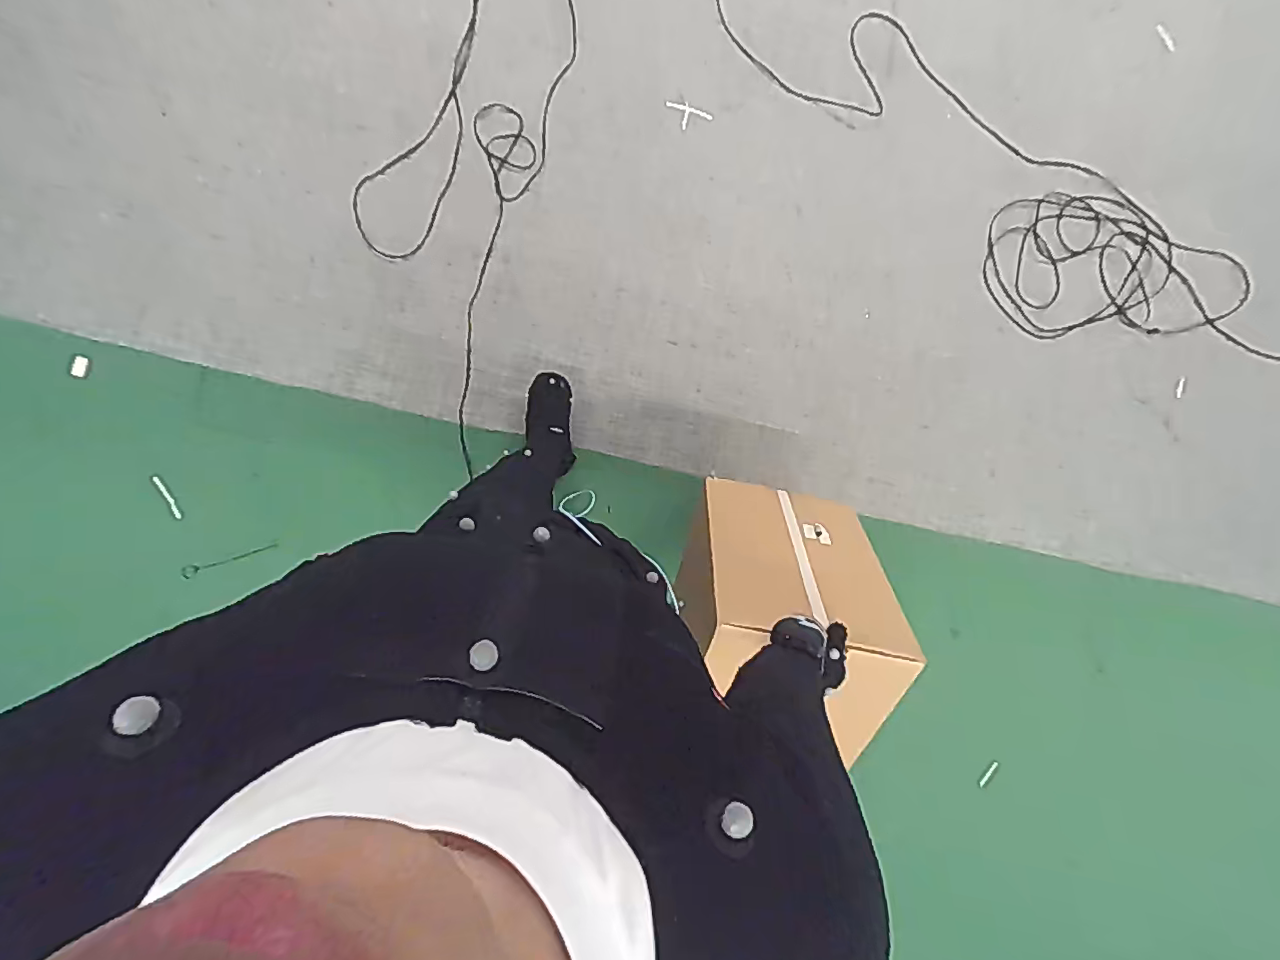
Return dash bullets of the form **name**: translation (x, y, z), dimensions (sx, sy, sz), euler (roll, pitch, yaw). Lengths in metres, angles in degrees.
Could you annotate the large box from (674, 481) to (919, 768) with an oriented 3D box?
- **large box**: translation (0.244, 0.256, 1.026), dimensions (0.320, 0.408, 0.320), euler (12, 121, -3)
